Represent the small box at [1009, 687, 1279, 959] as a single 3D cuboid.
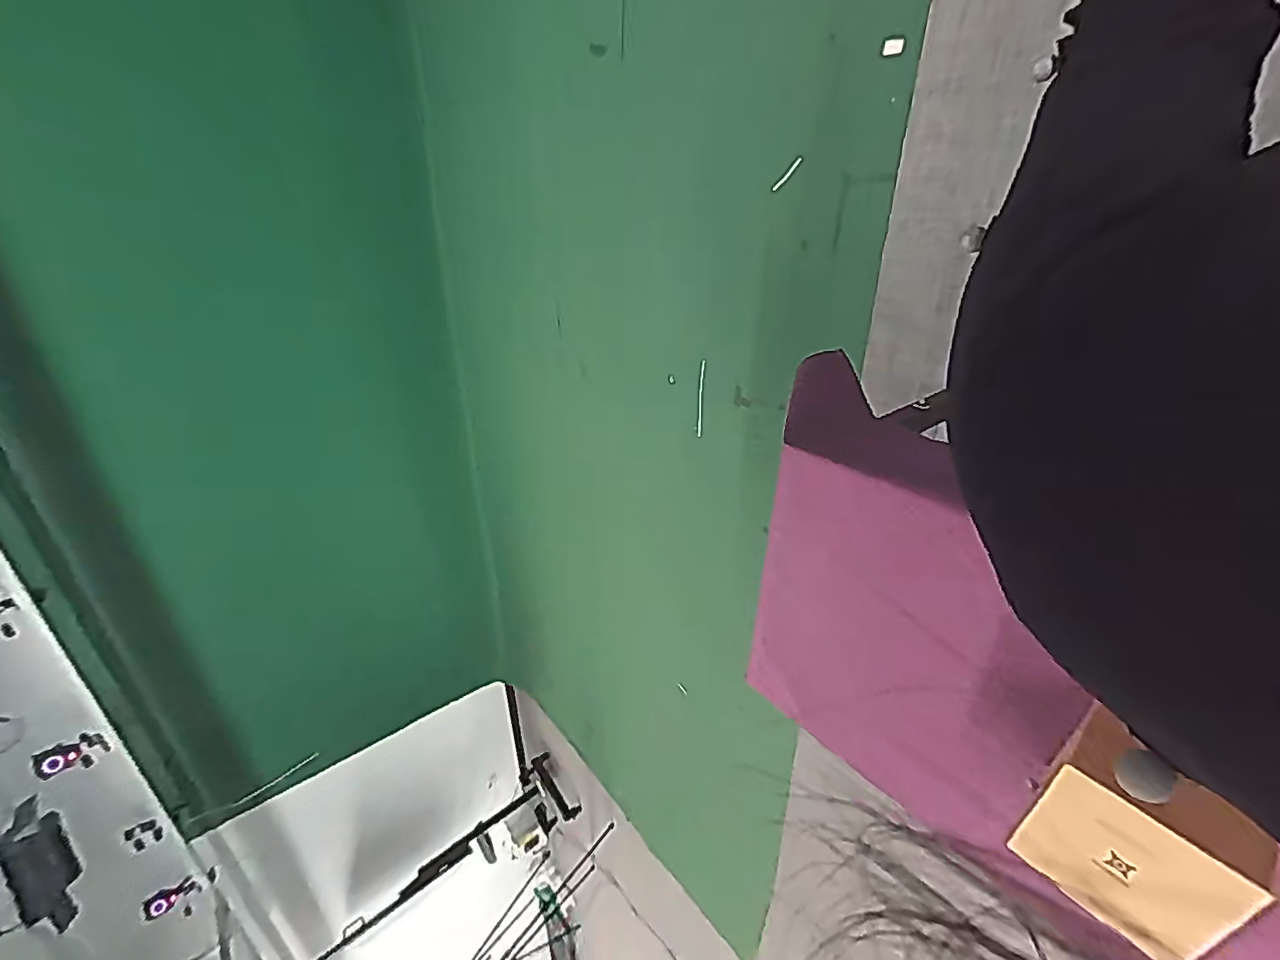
[{"bbox_3d":[0.578,0.384,0.627,0.168,0.176,0.179,33,130,40],"label":"small box"}]
